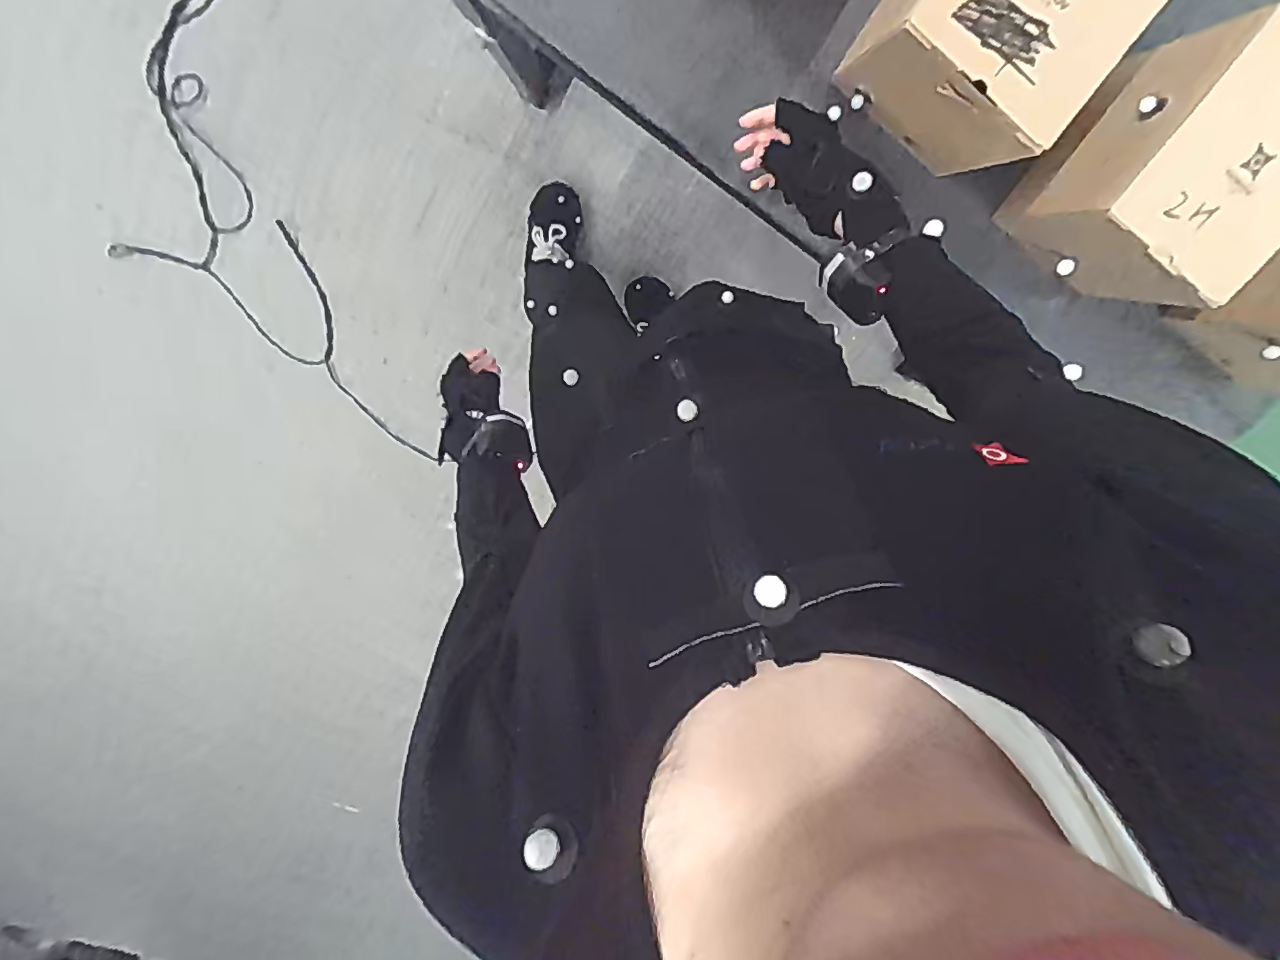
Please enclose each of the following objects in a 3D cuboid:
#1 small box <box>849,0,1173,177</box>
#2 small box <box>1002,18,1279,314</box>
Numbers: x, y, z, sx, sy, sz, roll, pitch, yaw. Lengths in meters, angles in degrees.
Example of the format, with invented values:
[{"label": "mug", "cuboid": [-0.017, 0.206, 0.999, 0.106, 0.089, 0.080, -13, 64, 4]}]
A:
[{"label": "small box", "cuboid": [0.320, -0.409, 0.493, 0.168, 0.176, 0.179, 30, 108, -14]}, {"label": "small box", "cuboid": [0.527, -0.295, 0.548, 0.168, 0.176, 0.179, 28, 109, -12]}]
